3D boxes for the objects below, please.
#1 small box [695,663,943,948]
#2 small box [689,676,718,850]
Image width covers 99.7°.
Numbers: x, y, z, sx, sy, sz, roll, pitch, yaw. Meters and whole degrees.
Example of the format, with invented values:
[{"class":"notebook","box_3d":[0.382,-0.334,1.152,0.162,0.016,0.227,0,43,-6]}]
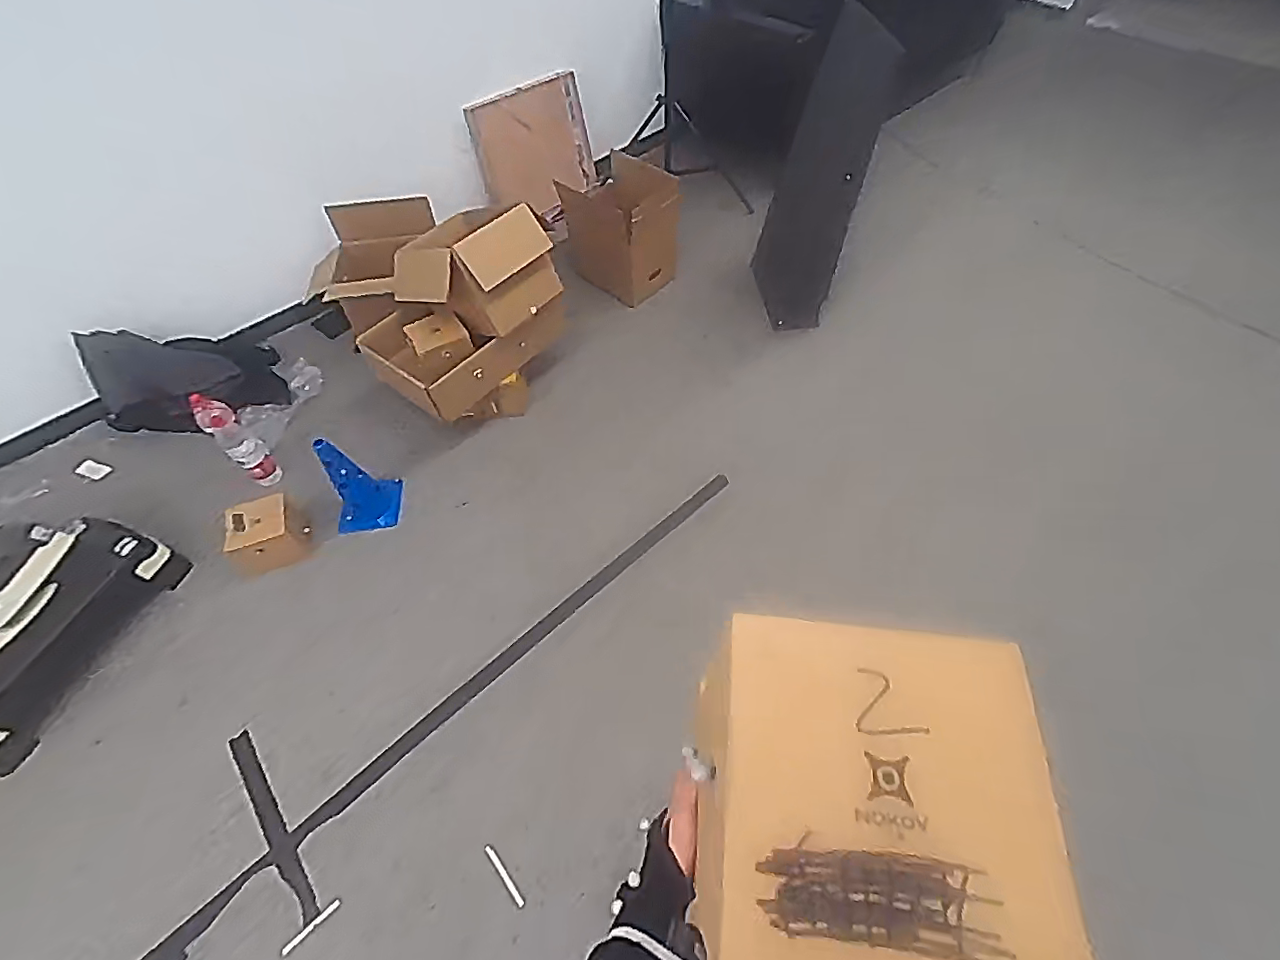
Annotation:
[{"class":"small box","box_3d":[0.139,0.280,0.488,0.168,0.176,0.179,5,60,5]},{"class":"small box","box_3d":[0.146,0.343,0.642,0.168,0.176,0.179,3,60,3]}]
